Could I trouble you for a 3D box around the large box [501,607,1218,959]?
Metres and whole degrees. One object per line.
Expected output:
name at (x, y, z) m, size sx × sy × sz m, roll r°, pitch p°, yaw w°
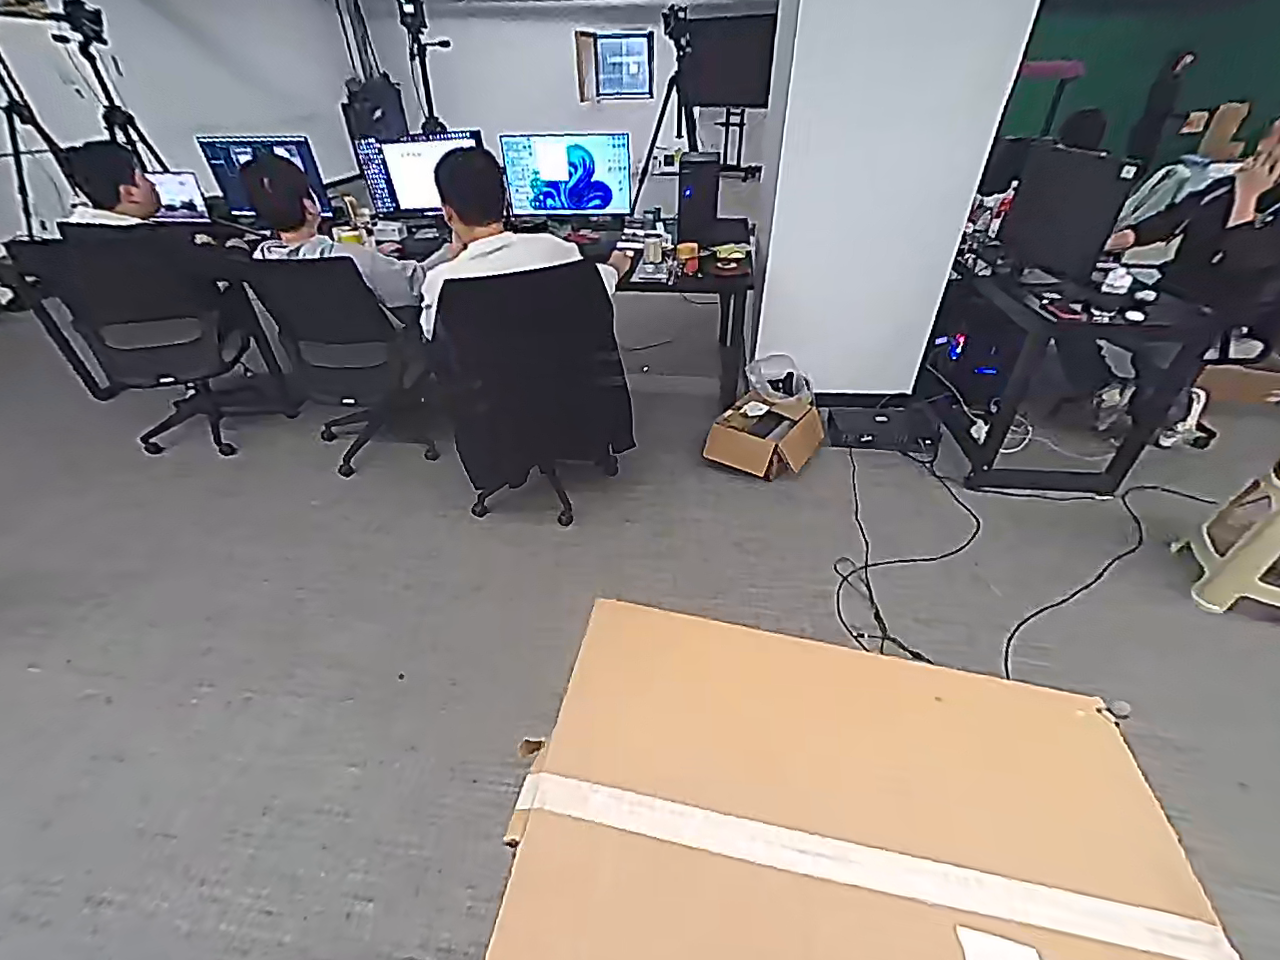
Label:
large box at (0.119, 0.349, 0.422) m, size 0.408 × 0.320 × 0.320 m, roll 11°, pitch 40°, yaw 4°
